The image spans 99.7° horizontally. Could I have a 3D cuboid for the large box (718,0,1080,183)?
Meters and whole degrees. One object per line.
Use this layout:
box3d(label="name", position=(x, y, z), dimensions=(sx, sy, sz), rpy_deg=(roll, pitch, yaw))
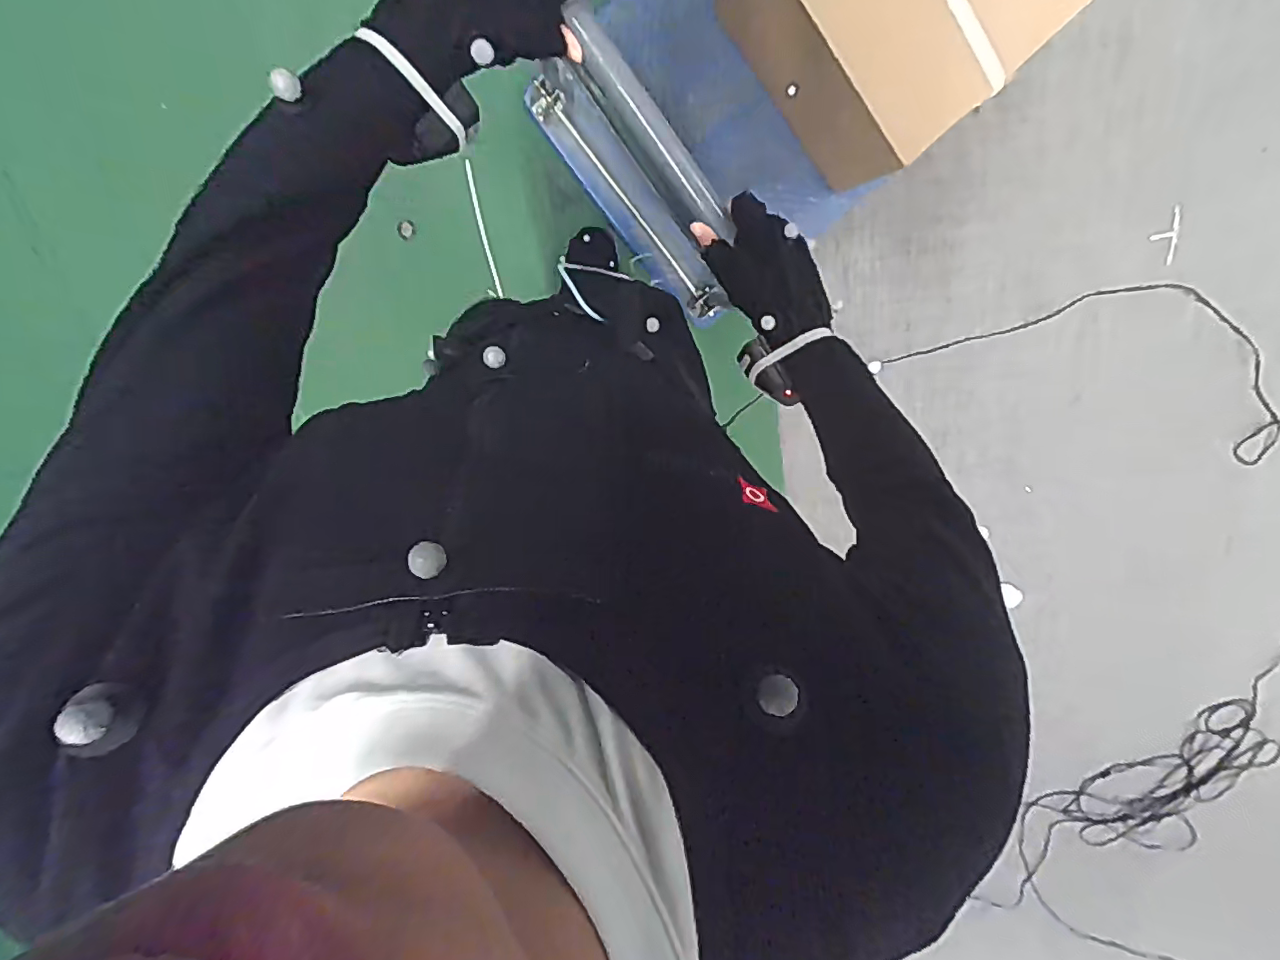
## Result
box3d(label="large box", position=(0.384, -0.775, 0.876), dimensions=(0.320, 0.320, 0.408), rpy_deg=(-40, 107, 13))
